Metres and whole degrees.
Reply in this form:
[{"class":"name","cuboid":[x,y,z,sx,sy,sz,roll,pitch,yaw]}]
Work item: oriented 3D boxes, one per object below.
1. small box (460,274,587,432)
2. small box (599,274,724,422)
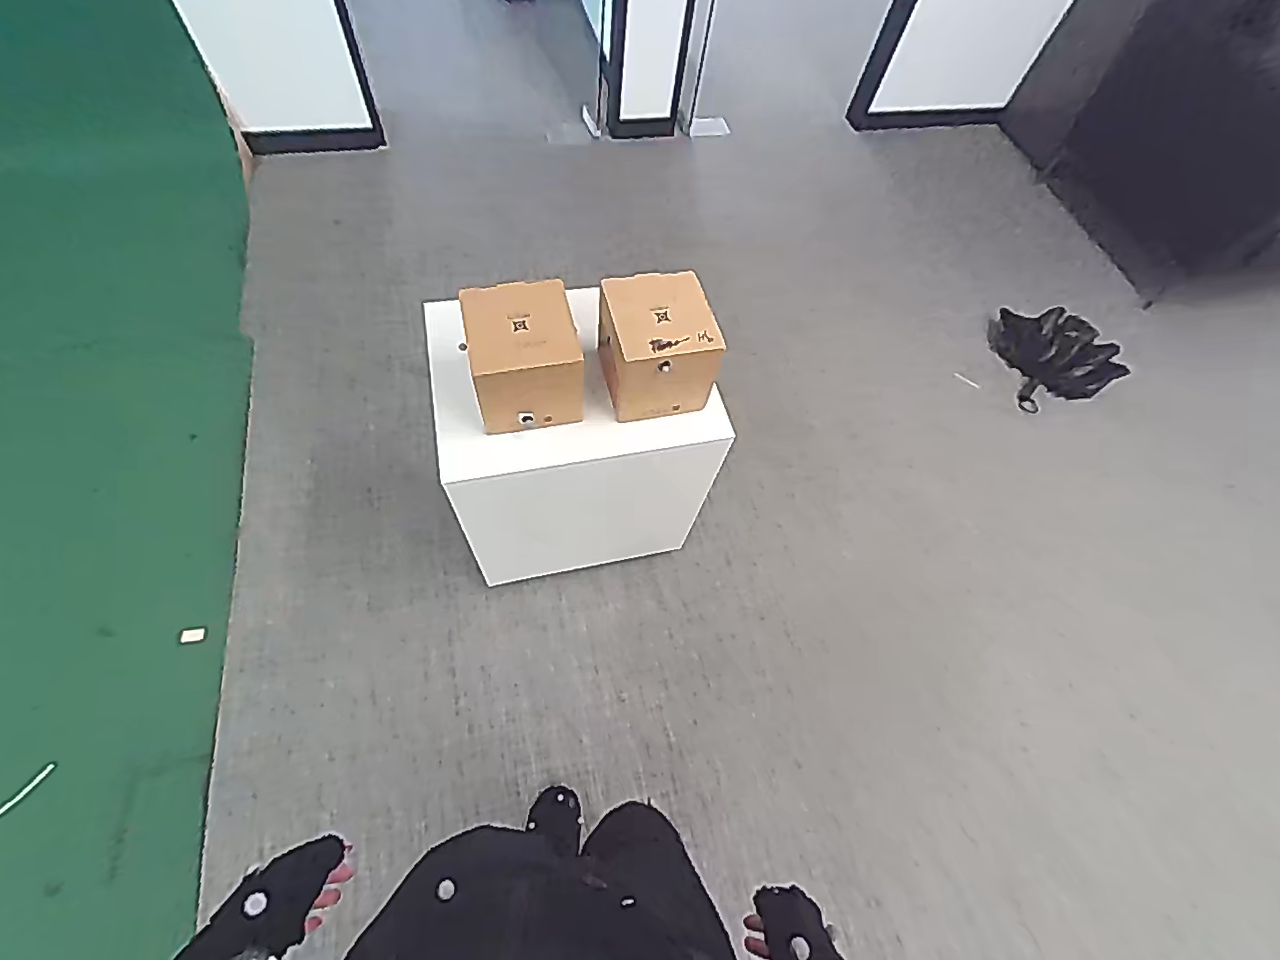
[{"class":"small box","cuboid":[-0.188,-0.204,0.884,0.168,0.176,0.179,-12,66,-12]},{"class":"small box","cuboid":[0.026,-0.226,0.935,0.168,0.176,0.179,-10,63,-12]}]
